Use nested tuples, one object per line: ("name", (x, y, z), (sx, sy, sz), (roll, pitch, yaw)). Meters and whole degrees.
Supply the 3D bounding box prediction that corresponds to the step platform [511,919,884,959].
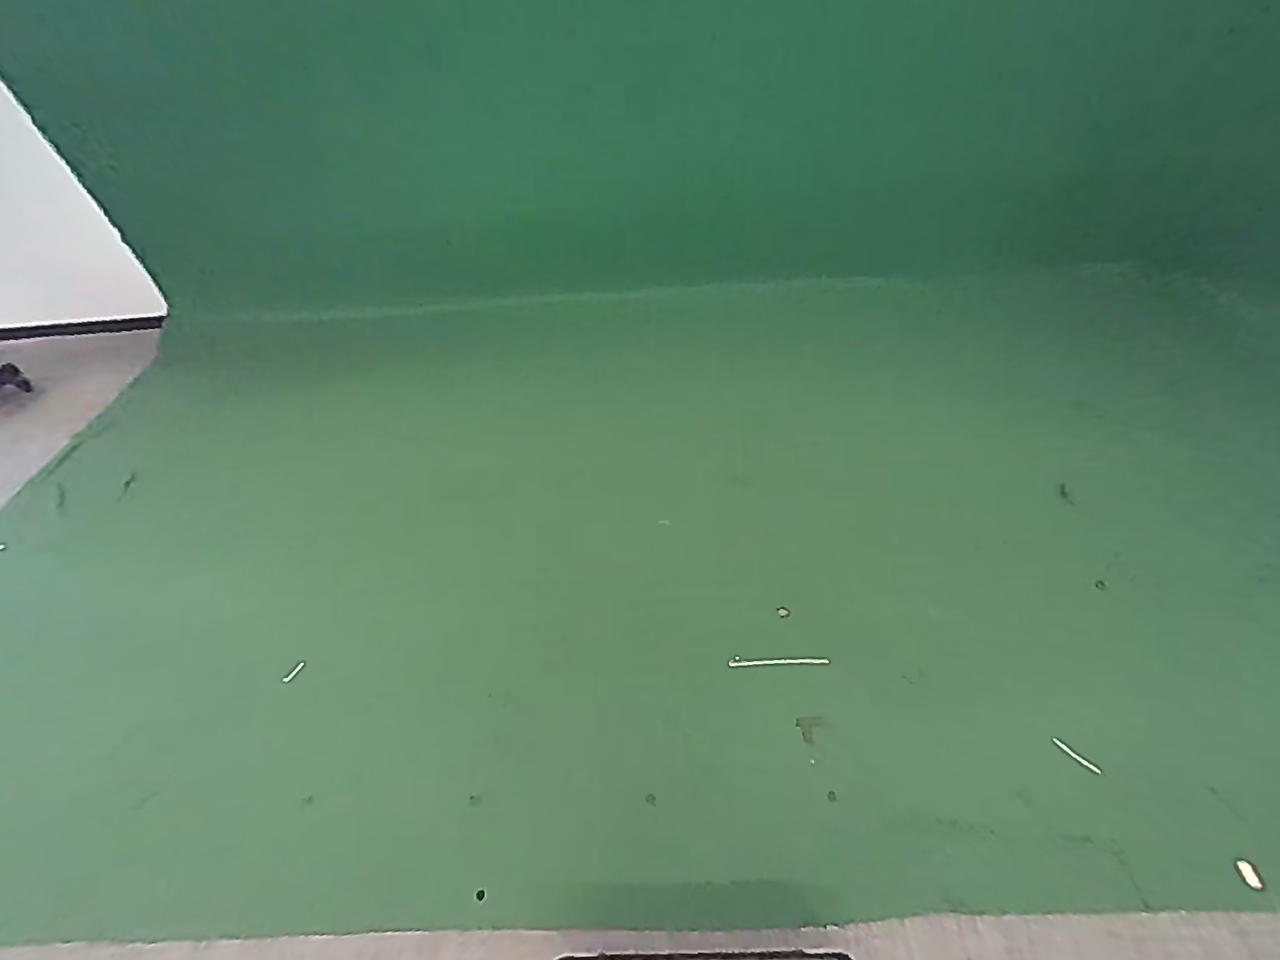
("step platform", (0.103, 0.985, 0.969), (0.684, 0.204, 0.286), (-4, 48, 2))
